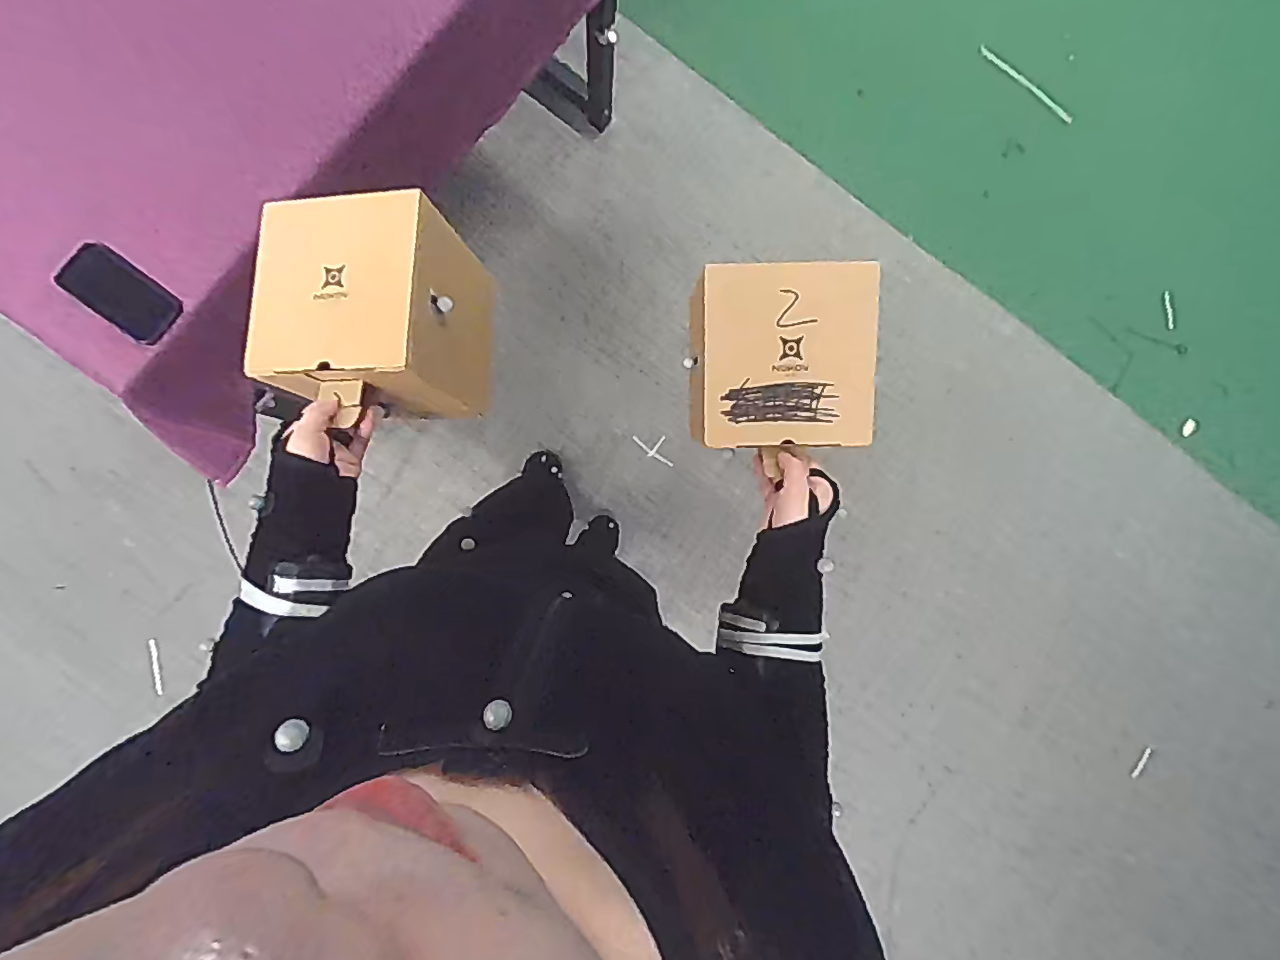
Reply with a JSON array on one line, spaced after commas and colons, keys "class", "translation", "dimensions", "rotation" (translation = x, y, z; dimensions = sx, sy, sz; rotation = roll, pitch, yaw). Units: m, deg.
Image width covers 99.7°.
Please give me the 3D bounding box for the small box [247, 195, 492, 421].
[{"class": "small box", "translation": [-0.269, -0.169, 0.578], "dimensions": [0.168, 0.176, 0.179], "rotation": [0, 83, 8]}]
